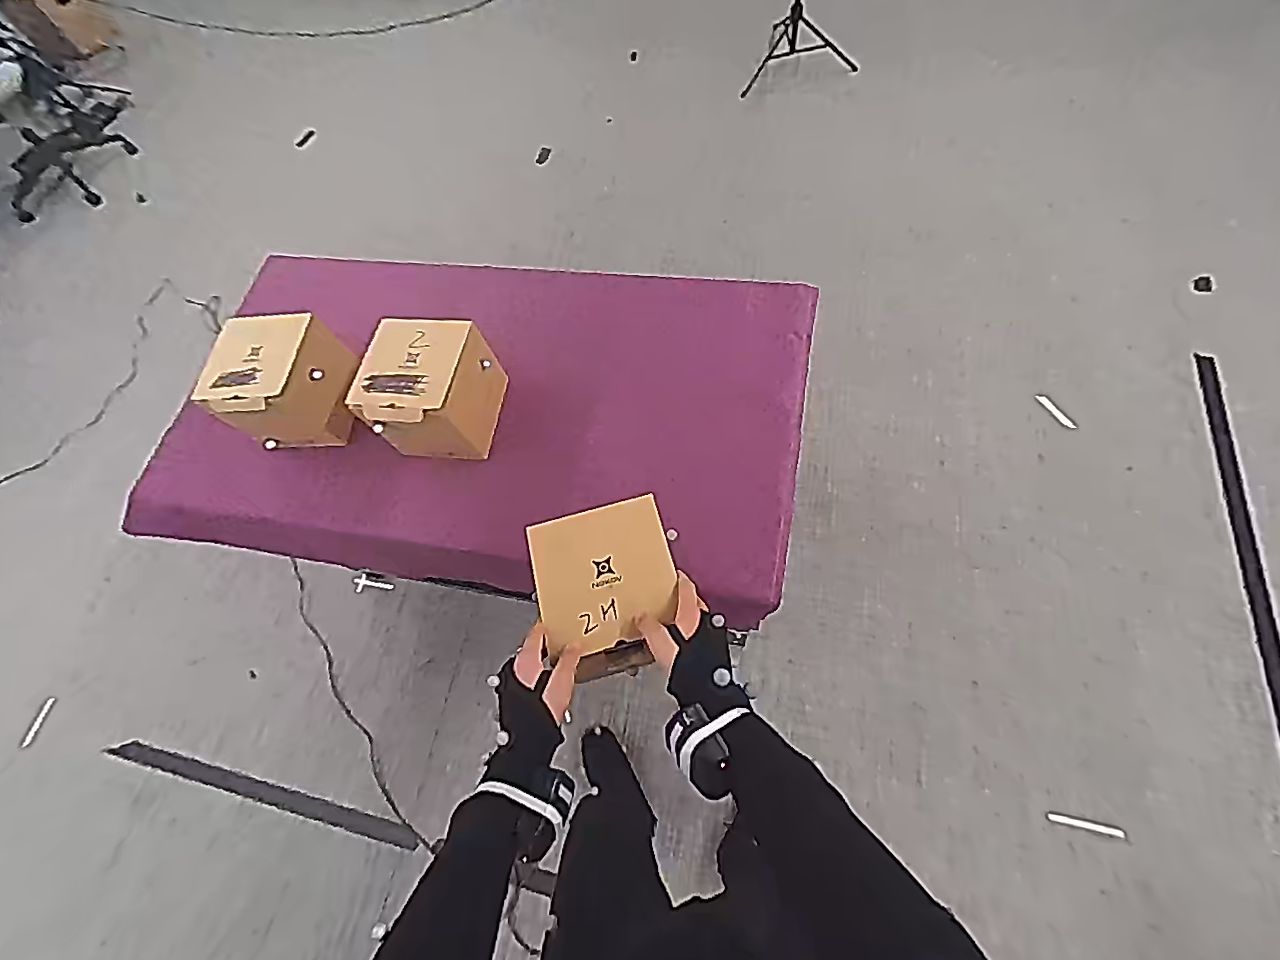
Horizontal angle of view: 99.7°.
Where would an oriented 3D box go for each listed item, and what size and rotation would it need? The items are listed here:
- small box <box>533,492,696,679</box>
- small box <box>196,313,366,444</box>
[{"bbox_3d":[-0.030,0.143,0.704,0.168,0.176,0.179,-14,63,-2],"label":"small box"},{"bbox_3d":[-0.629,-0.174,0.974,0.168,0.176,0.179,-1,66,7],"label":"small box"}]
